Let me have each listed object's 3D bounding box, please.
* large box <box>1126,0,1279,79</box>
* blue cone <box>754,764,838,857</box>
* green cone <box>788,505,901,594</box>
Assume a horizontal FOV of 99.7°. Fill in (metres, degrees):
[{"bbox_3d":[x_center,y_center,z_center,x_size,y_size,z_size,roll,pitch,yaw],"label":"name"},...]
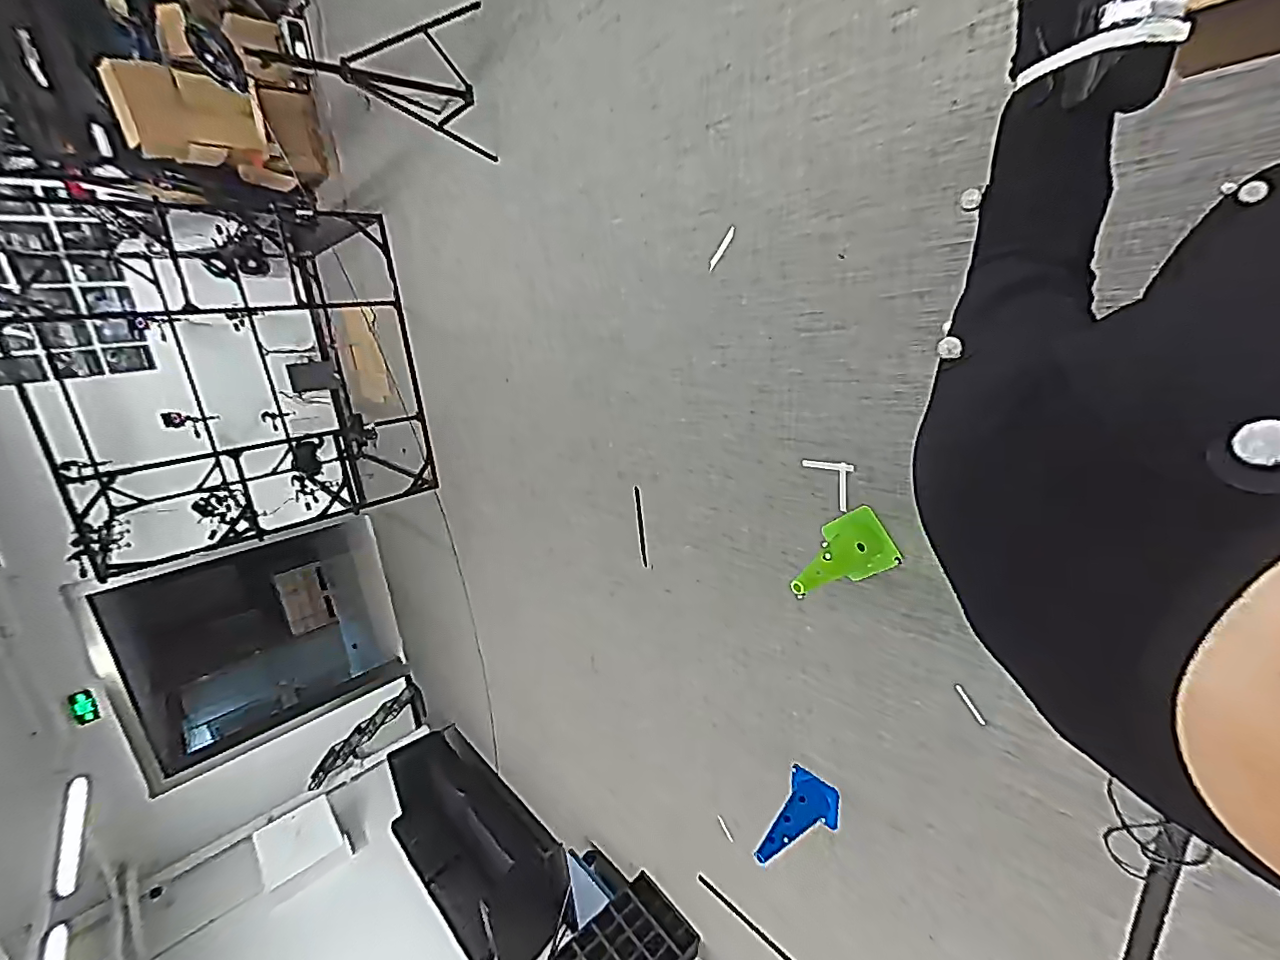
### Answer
[{"bbox_3d":[0.541,-0.463,0.262,0.408,0.320,0.320,13,120,45],"label":"large box"},{"bbox_3d":[0.565,1.277,2.026,0.192,0.380,0.193,19,119,46],"label":"blue cone"},{"bbox_3d":[0.555,0.239,1.574,0.200,0.368,0.202,61,142,13],"label":"green cone"}]
